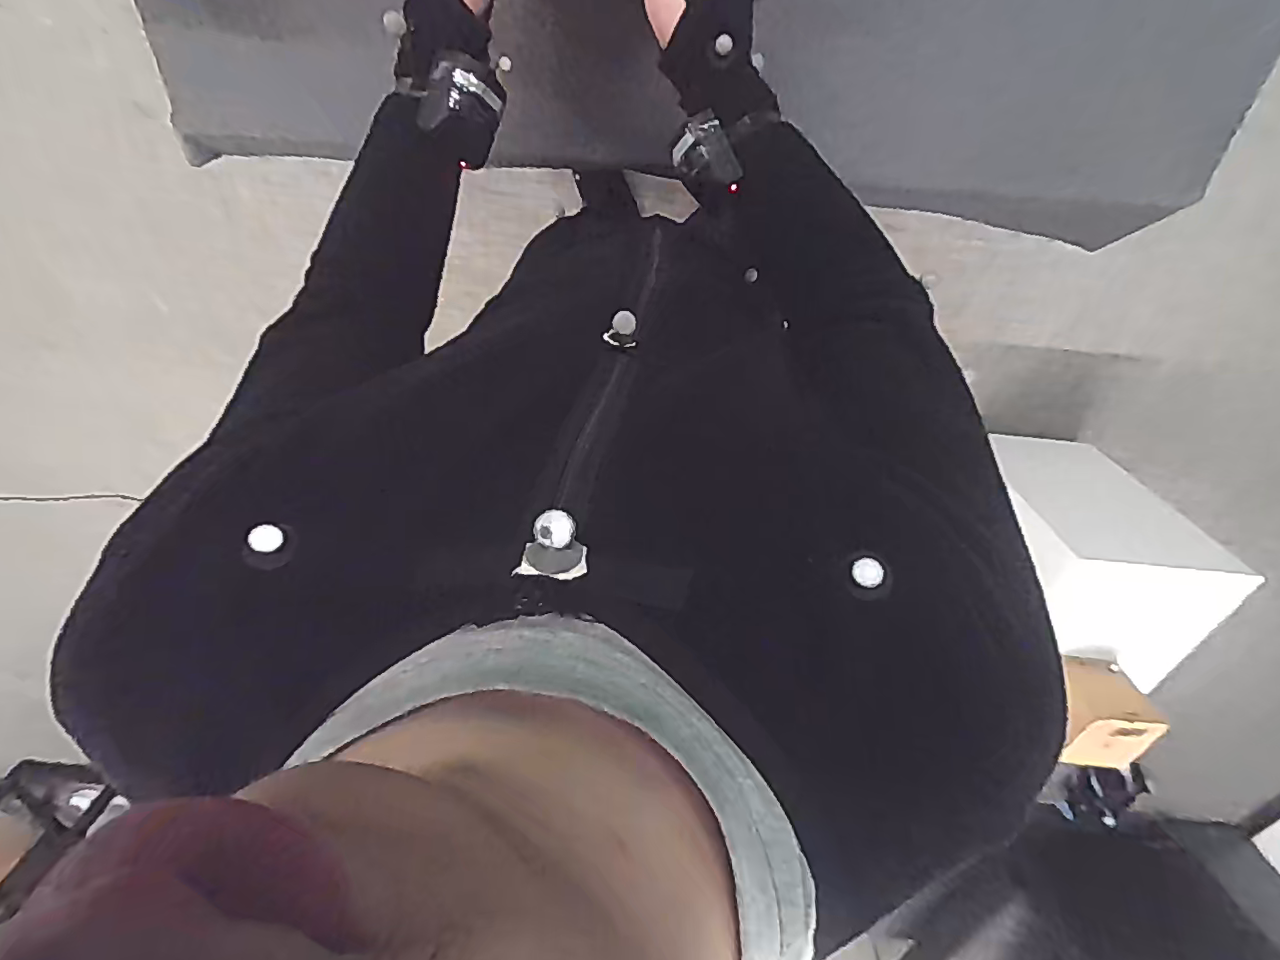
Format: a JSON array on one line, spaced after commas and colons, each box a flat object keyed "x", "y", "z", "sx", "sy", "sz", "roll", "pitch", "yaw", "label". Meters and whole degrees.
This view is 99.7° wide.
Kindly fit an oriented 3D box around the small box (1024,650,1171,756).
[{"x": 1.061, "y": 0.522, "z": 1.275, "sx": 0.168, "sy": 0.176, "sz": 0.179, "roll": 5, "pitch": 123, "yaw": -3, "label": "small box"}]
